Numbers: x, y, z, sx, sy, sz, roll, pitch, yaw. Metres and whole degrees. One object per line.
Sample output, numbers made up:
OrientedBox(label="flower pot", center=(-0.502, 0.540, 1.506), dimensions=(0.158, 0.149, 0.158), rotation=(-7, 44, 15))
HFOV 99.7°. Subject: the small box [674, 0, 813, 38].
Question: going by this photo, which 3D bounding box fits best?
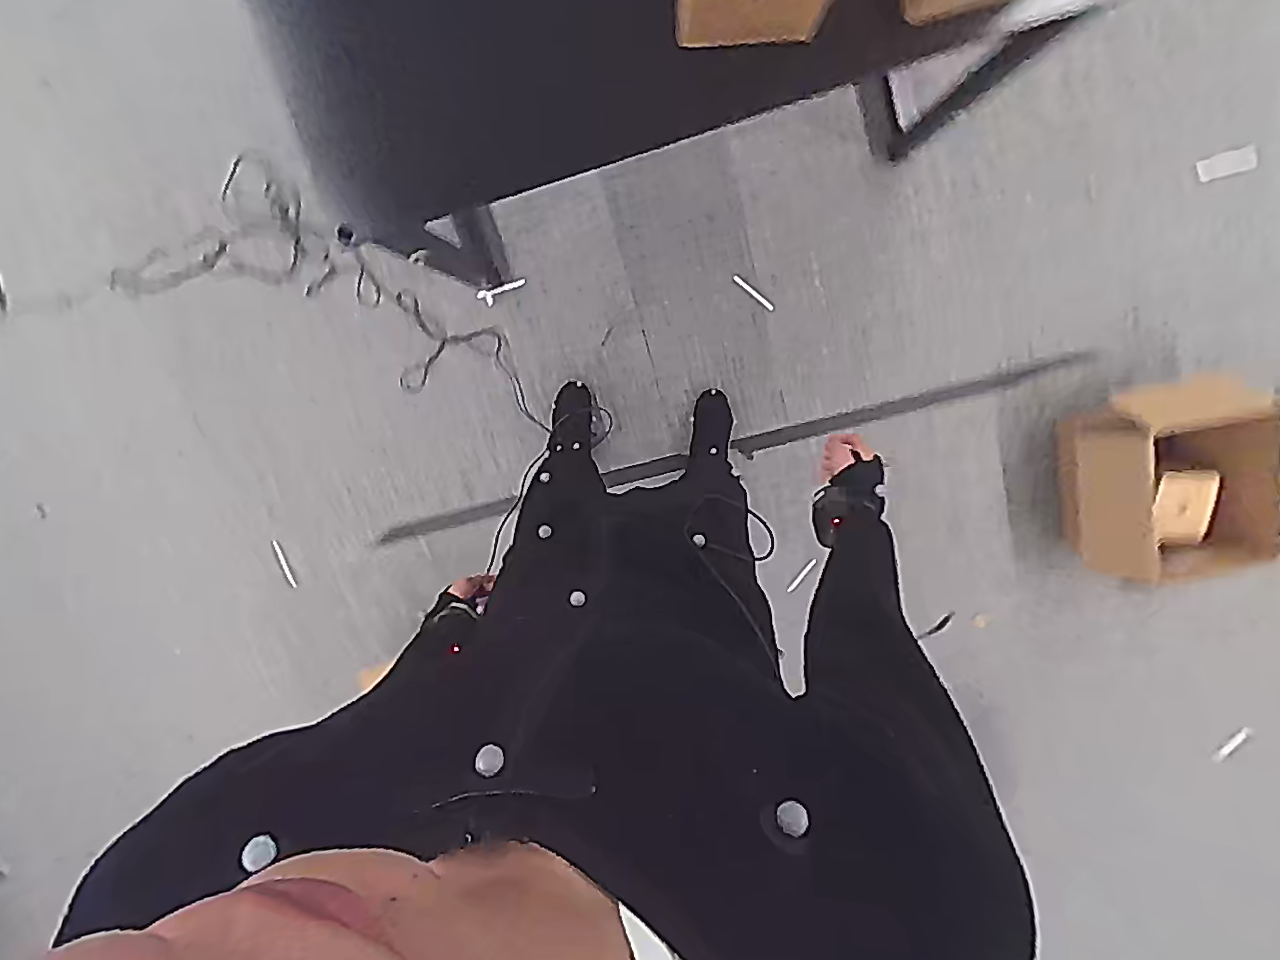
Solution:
OrientedBox(label="small box", center=(0.130, -0.661, 0.634), dimensions=(0.179, 0.176, 0.168), rotation=(-3, 102, 2))
